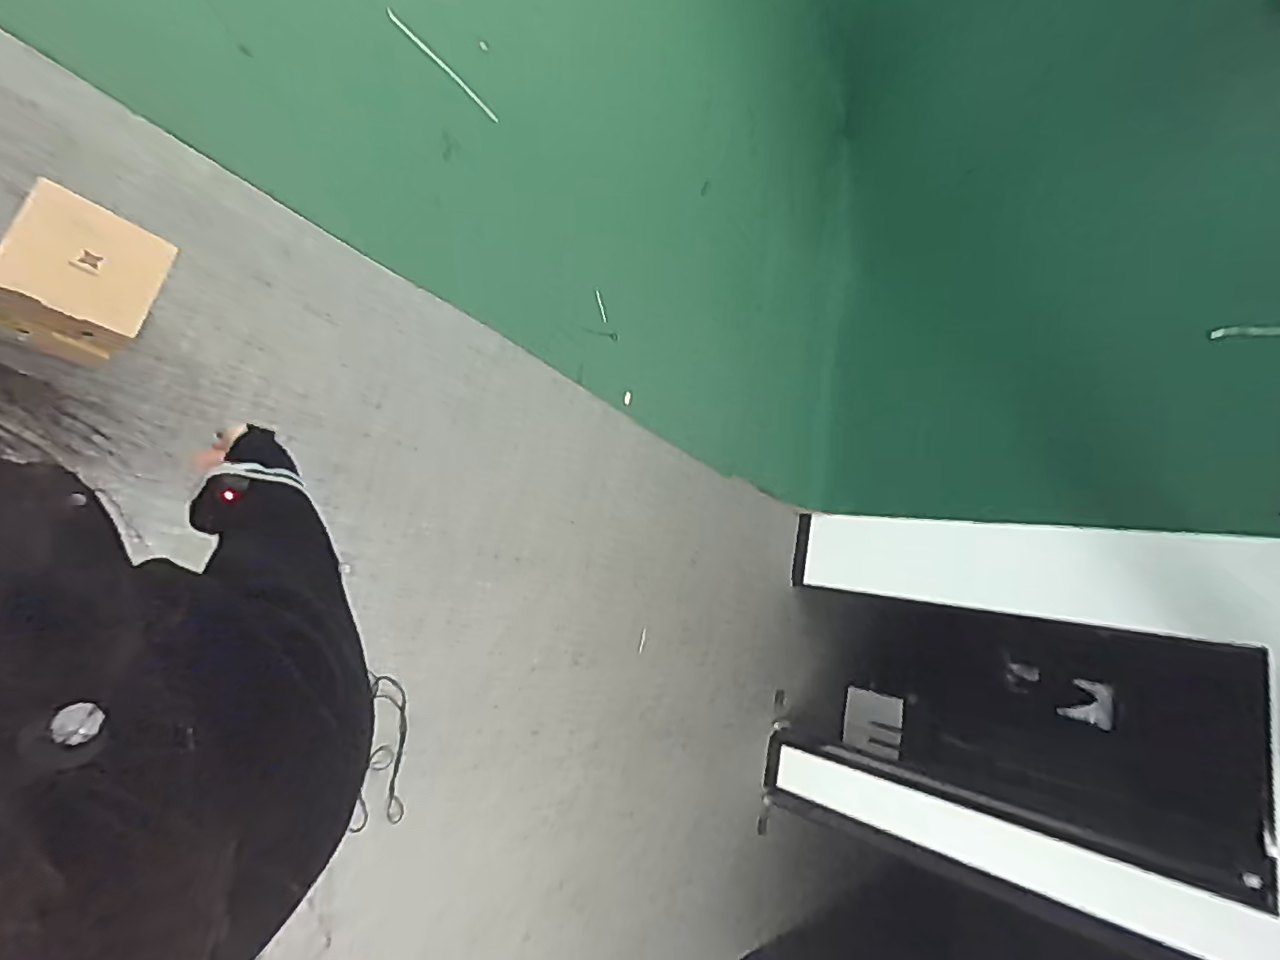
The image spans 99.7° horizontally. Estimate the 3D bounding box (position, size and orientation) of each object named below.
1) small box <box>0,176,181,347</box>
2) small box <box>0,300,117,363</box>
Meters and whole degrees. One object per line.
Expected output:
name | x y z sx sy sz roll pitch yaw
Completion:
small box | -0.887 -0.333 0.867 0.168 0.176 0.179 29 68 -48
small box | -1.015 -0.328 0.968 0.168 0.176 0.179 32 66 -46
